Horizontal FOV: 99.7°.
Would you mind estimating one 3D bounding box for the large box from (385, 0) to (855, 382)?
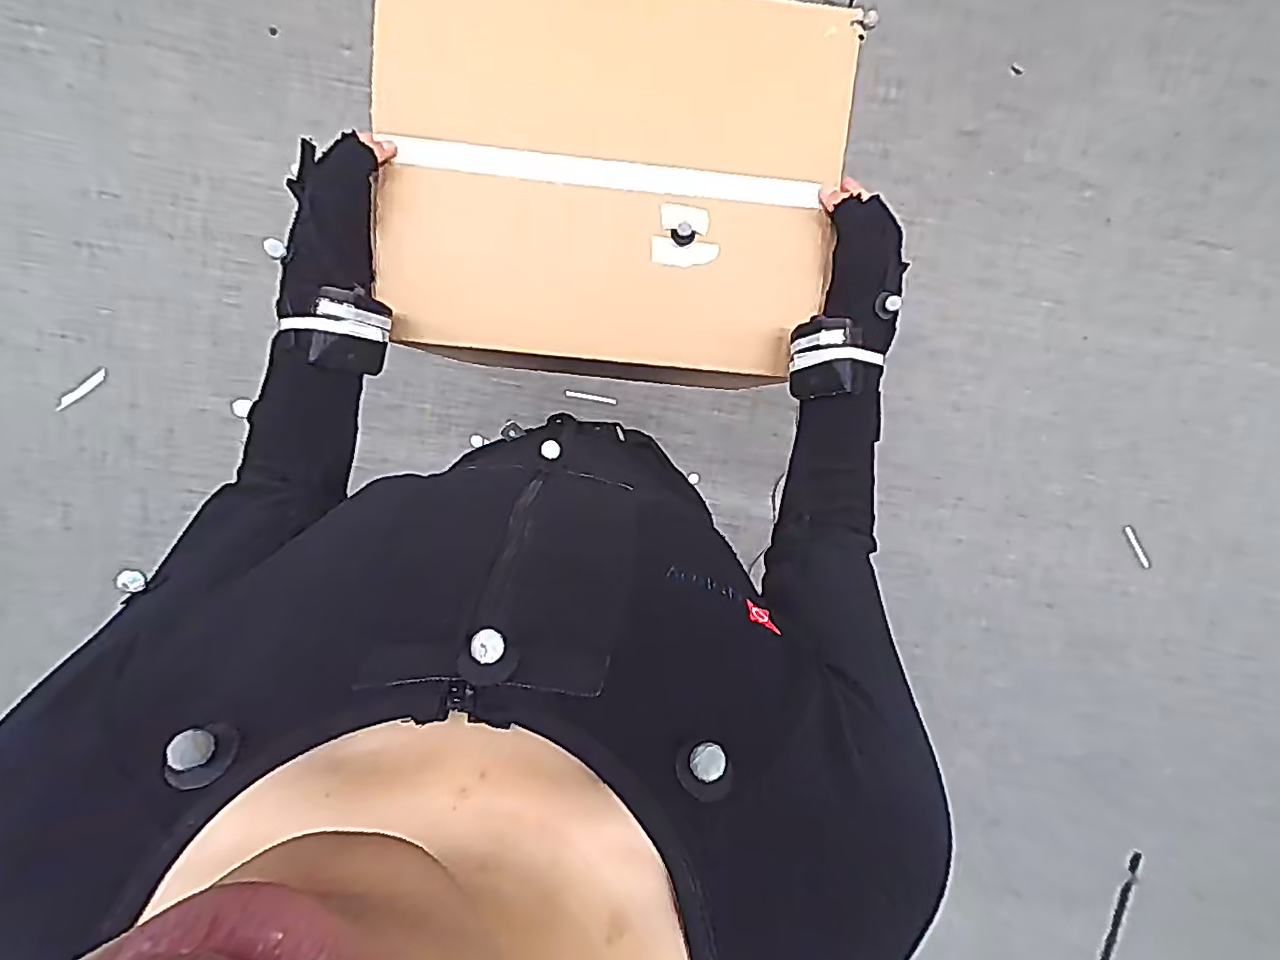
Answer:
[{"bbox_3d":[-0.030,-0.289,0.622,0.408,0.320,0.320,4,98,-4],"label":"large box"}]

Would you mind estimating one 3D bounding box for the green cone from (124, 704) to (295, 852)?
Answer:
[{"bbox_3d":[-1.093,0.762,1.345,0.202,0.368,0.200,-28,95,3],"label":"green cone"}]
